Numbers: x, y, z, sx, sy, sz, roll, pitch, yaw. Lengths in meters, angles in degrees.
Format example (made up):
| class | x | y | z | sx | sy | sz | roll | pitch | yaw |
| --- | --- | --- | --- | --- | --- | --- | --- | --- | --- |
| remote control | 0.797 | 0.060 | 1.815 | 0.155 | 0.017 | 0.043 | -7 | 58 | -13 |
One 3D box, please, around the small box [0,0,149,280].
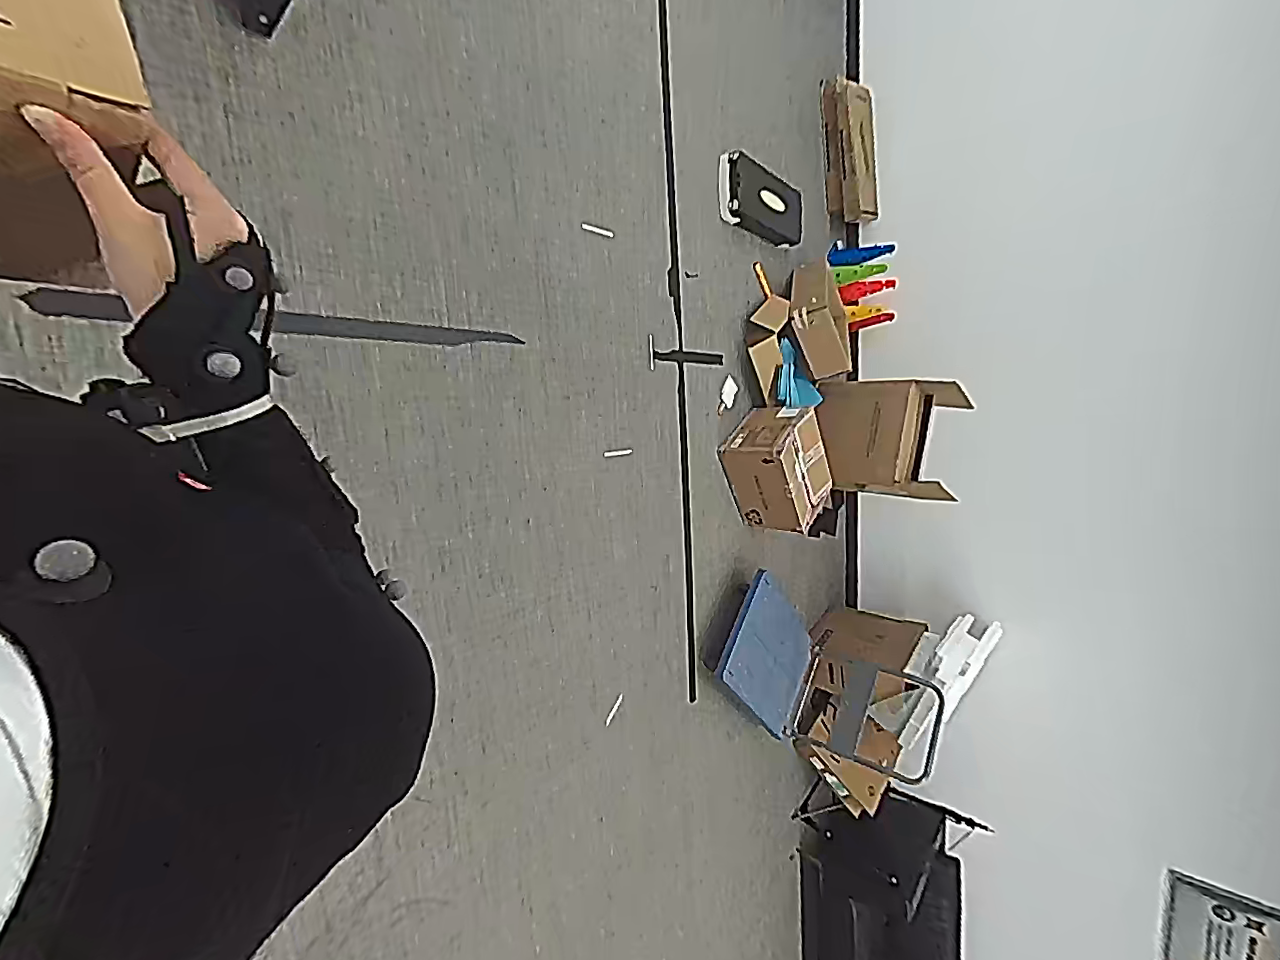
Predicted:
| class | x | y | z | sx | sy | sz | roll | pitch | yaw |
| --- | --- | --- | --- | --- | --- | --- | --- | --- | --- |
| small box | -0.389 | -0.229 | 0.276 | 0.168 | 0.176 | 0.179 | -13 | 80 | -53 |
